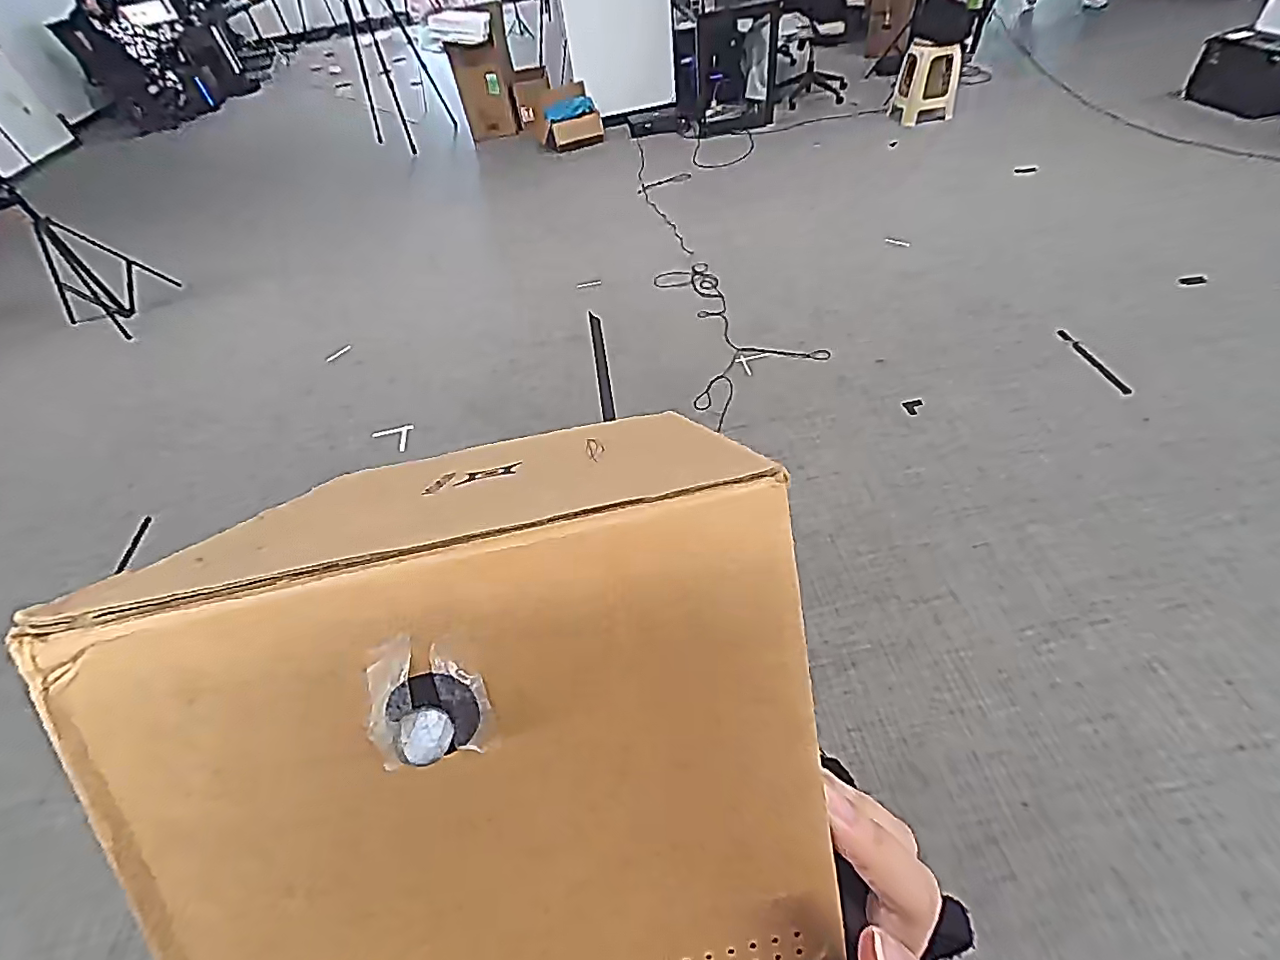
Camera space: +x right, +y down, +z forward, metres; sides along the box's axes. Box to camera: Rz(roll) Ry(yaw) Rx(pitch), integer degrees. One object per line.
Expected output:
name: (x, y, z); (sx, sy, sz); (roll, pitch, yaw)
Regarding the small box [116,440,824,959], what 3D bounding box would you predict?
small box: (-0.041, 0.089, 0.233); (0.179, 0.176, 0.168); (-11, 12, -3)
